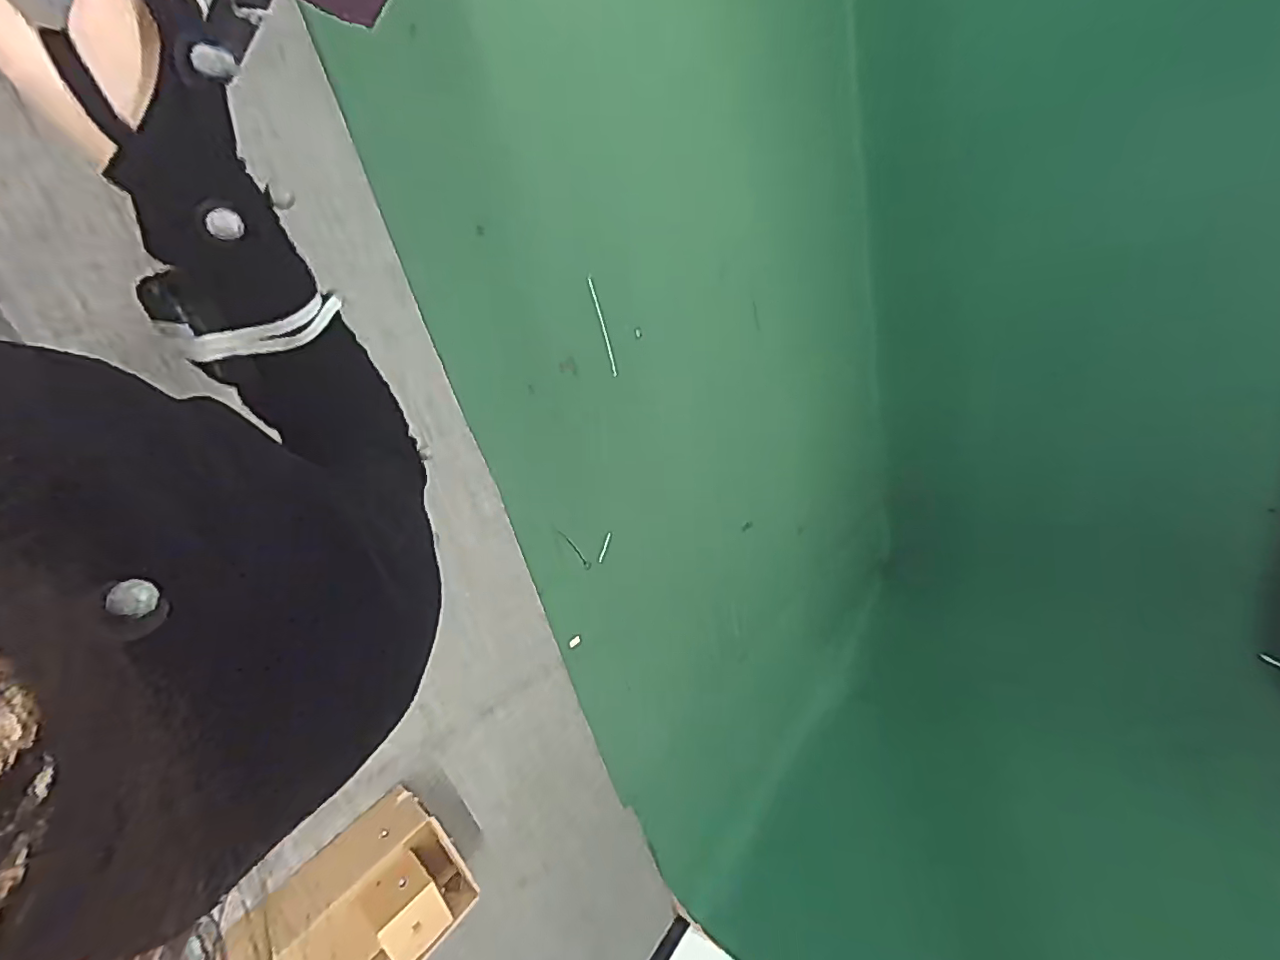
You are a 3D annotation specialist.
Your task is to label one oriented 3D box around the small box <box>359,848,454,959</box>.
[{"bbox_3d":[-0.668,1.201,1.541,0.168,0.176,0.179,-31,118,-39],"label":"small box"}]
